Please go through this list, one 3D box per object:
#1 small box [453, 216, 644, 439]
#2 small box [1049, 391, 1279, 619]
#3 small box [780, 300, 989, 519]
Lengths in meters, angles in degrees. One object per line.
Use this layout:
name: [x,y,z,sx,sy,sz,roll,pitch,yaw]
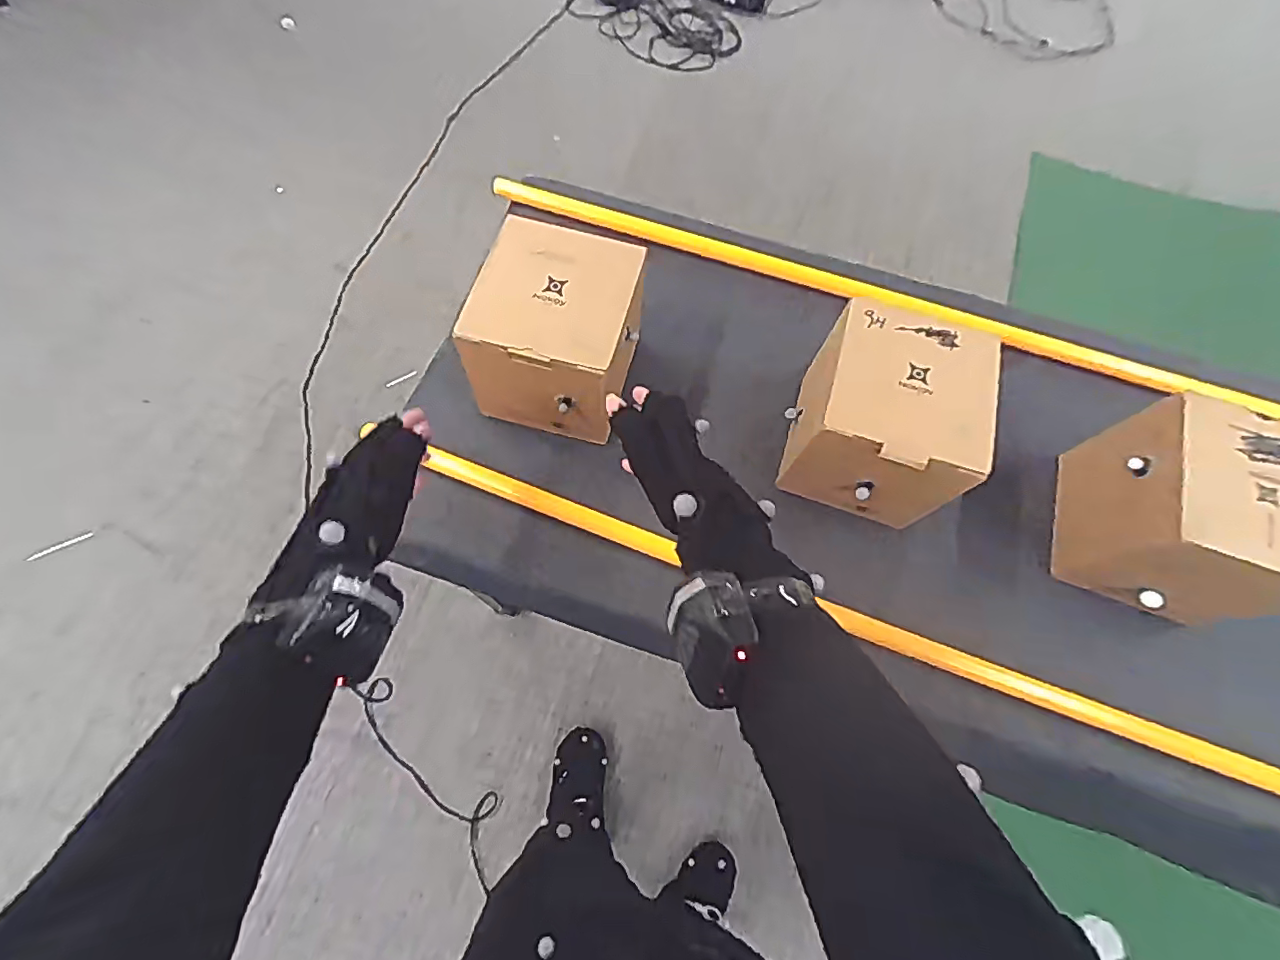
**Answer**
small box: [-0.099,-0.172,0.651,0.168,0.176,0.179,15,66,0]
small box: [0.600,0.037,0.603,0.168,0.176,0.179,20,69,5]
small box: [0.273,-0.072,0.634,0.168,0.176,0.179,15,67,5]
